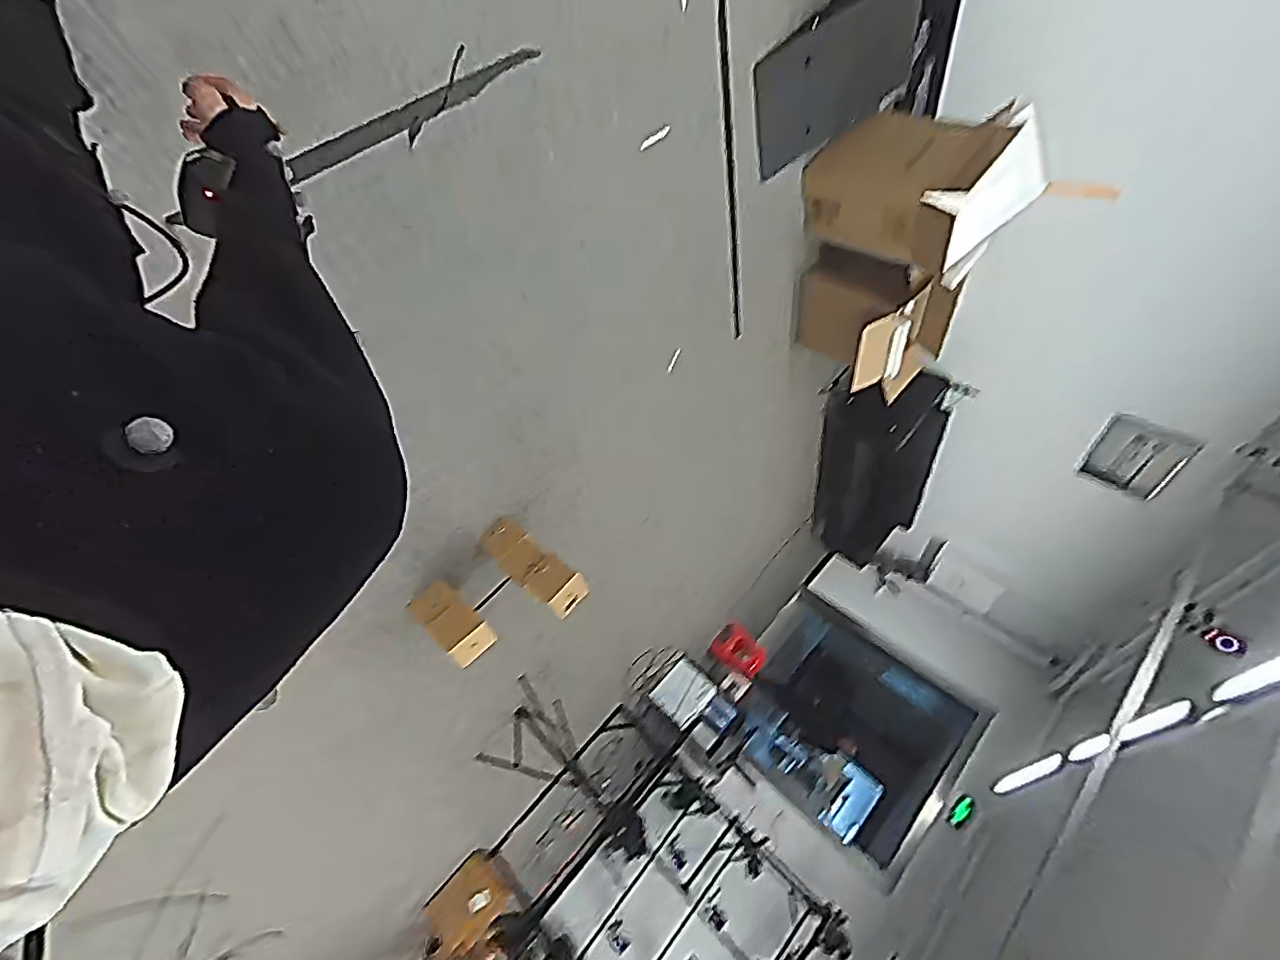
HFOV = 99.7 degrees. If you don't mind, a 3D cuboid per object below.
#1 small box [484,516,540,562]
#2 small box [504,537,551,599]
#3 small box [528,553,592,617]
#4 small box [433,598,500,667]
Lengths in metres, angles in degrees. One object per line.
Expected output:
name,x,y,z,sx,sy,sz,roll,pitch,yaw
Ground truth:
small box,-0.562,0.289,2.418,0.168,0.176,0.179,-47,147,-16
small box,-0.453,0.376,2.331,0.179,0.176,0.168,-47,147,-16
small box,-0.330,0.428,2.232,0.168,0.176,0.179,-46,146,-19
small box,-0.707,0.617,2.202,0.179,0.176,0.168,-41,145,-23
